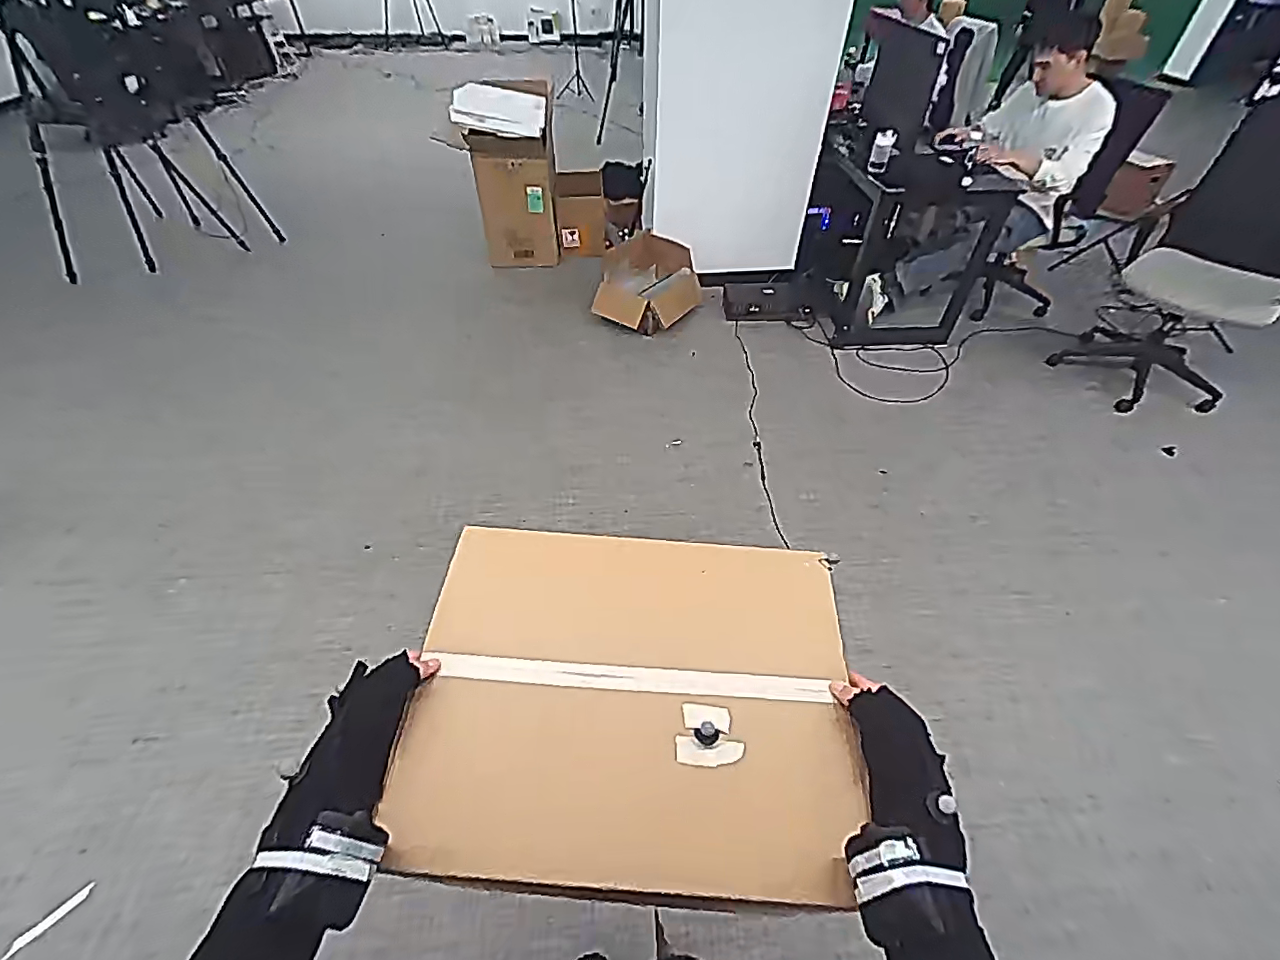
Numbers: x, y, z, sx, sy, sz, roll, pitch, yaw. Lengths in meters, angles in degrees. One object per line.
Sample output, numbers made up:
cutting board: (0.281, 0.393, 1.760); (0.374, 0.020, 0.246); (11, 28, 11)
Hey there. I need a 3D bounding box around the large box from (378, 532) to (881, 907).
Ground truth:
large box: (-0.009, 0.283, 0.627); (0.408, 0.320, 0.320); (5, 51, 0)
